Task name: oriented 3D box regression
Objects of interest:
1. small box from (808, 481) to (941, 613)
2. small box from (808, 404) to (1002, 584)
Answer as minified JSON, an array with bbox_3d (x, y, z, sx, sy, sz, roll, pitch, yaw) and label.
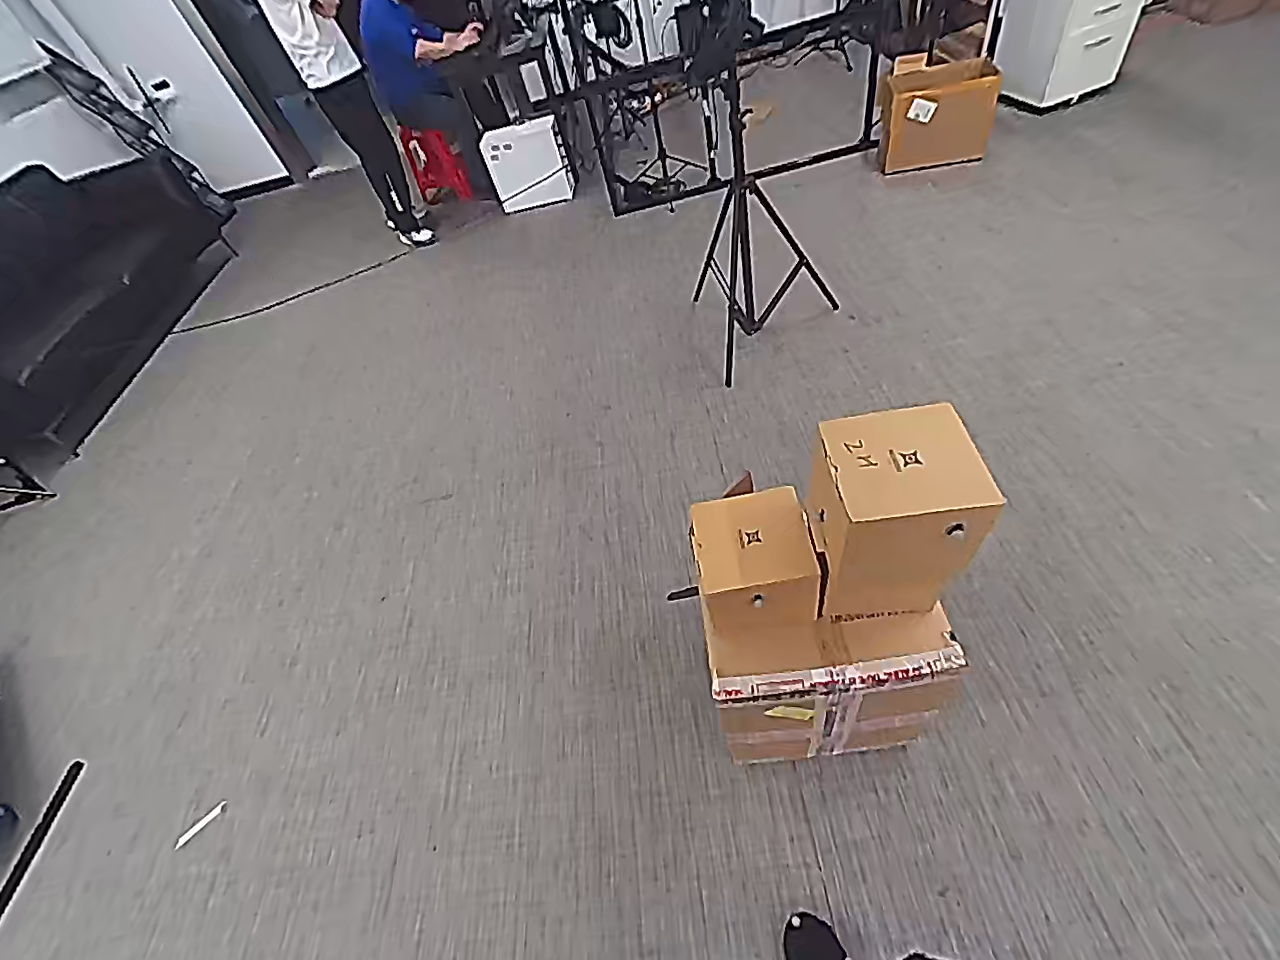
[{"bbox_3d":[0.370,0.104,0.868,0.179,0.176,0.168,-5,52,9],"label":"small box"},{"bbox_3d":[0.335,0.024,0.726,0.179,0.176,0.168,-8,51,7],"label":"small box"}]
